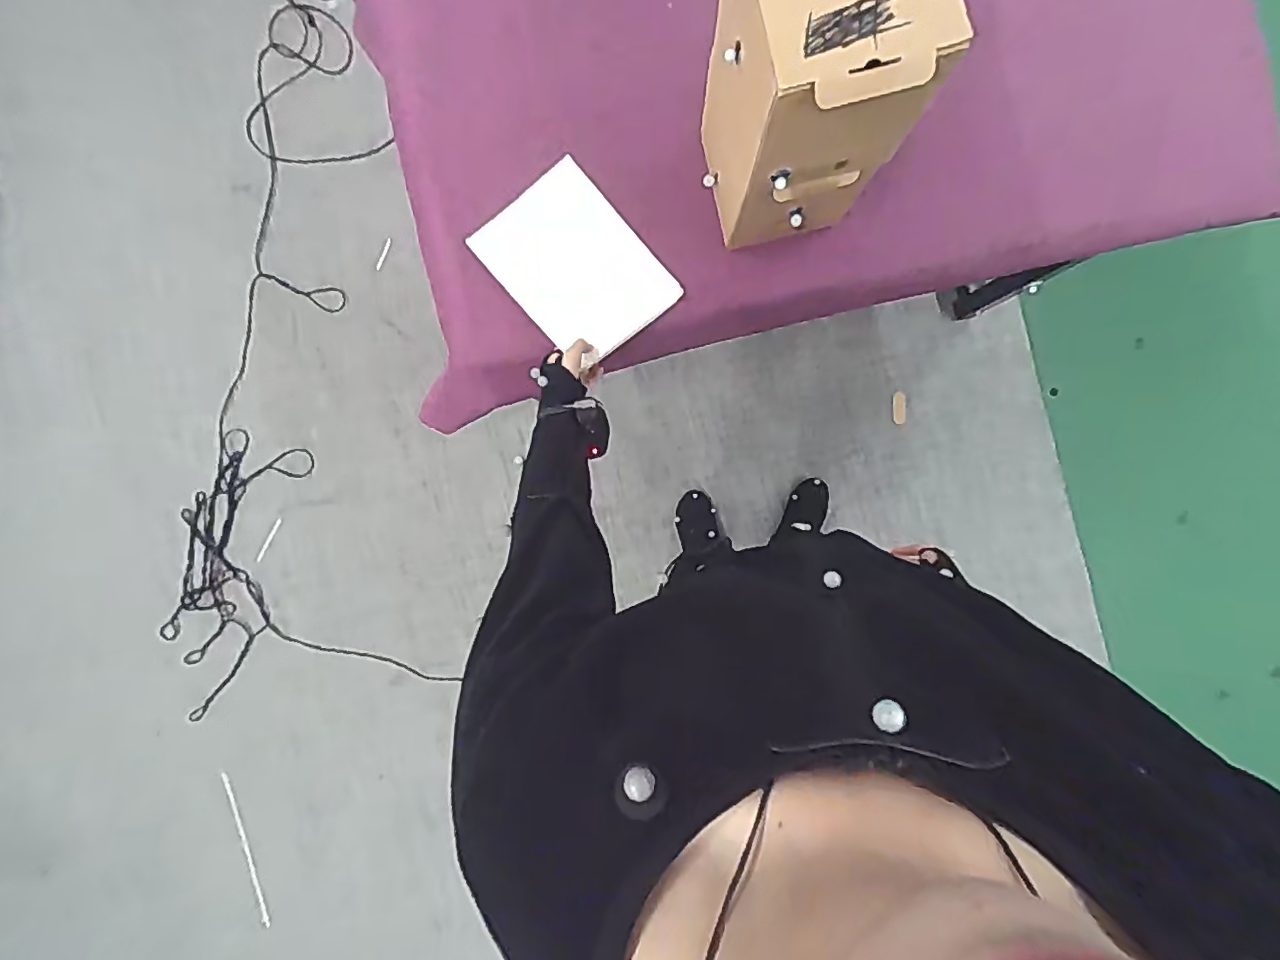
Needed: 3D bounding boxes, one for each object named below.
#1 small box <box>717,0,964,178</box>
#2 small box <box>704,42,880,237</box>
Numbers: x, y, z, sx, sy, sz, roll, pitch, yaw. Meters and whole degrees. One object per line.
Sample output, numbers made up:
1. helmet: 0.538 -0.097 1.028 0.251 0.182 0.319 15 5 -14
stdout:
1. small box: 0.178 -0.431 0.534 0.168 0.176 0.179 -12 89 2
2. small box: 0.184 -0.438 0.700 0.168 0.176 0.179 -13 91 2
